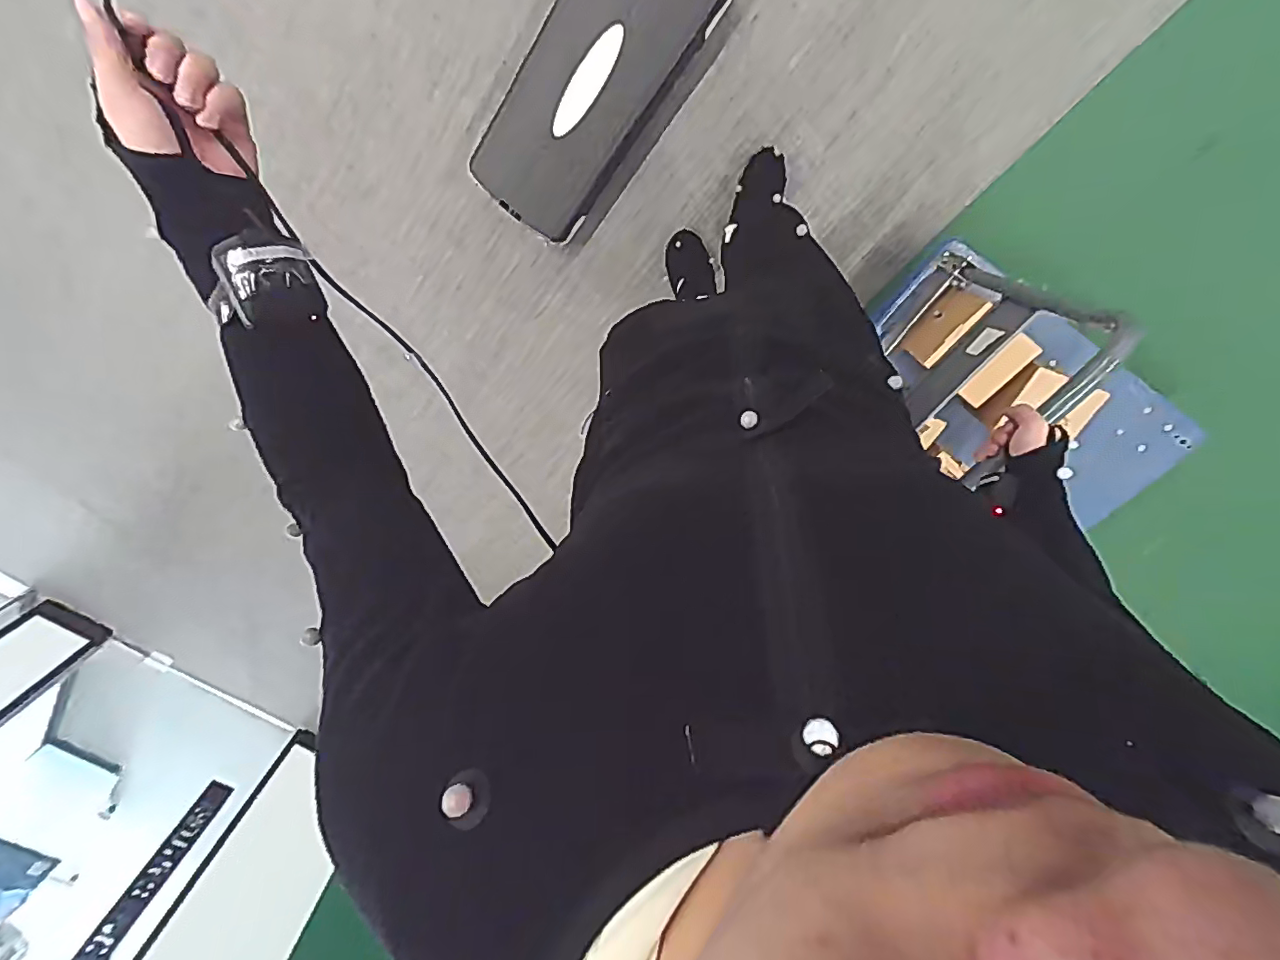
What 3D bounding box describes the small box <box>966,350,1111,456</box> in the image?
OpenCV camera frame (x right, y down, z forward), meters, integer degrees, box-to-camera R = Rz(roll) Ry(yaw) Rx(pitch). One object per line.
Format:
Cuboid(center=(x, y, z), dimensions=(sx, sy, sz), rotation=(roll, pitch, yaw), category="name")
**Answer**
Cuboid(center=(0.904, -0.184, 1.250), dimensions=(0.179, 0.176, 0.168), rotation=(19, 120, -5), category="small box")
